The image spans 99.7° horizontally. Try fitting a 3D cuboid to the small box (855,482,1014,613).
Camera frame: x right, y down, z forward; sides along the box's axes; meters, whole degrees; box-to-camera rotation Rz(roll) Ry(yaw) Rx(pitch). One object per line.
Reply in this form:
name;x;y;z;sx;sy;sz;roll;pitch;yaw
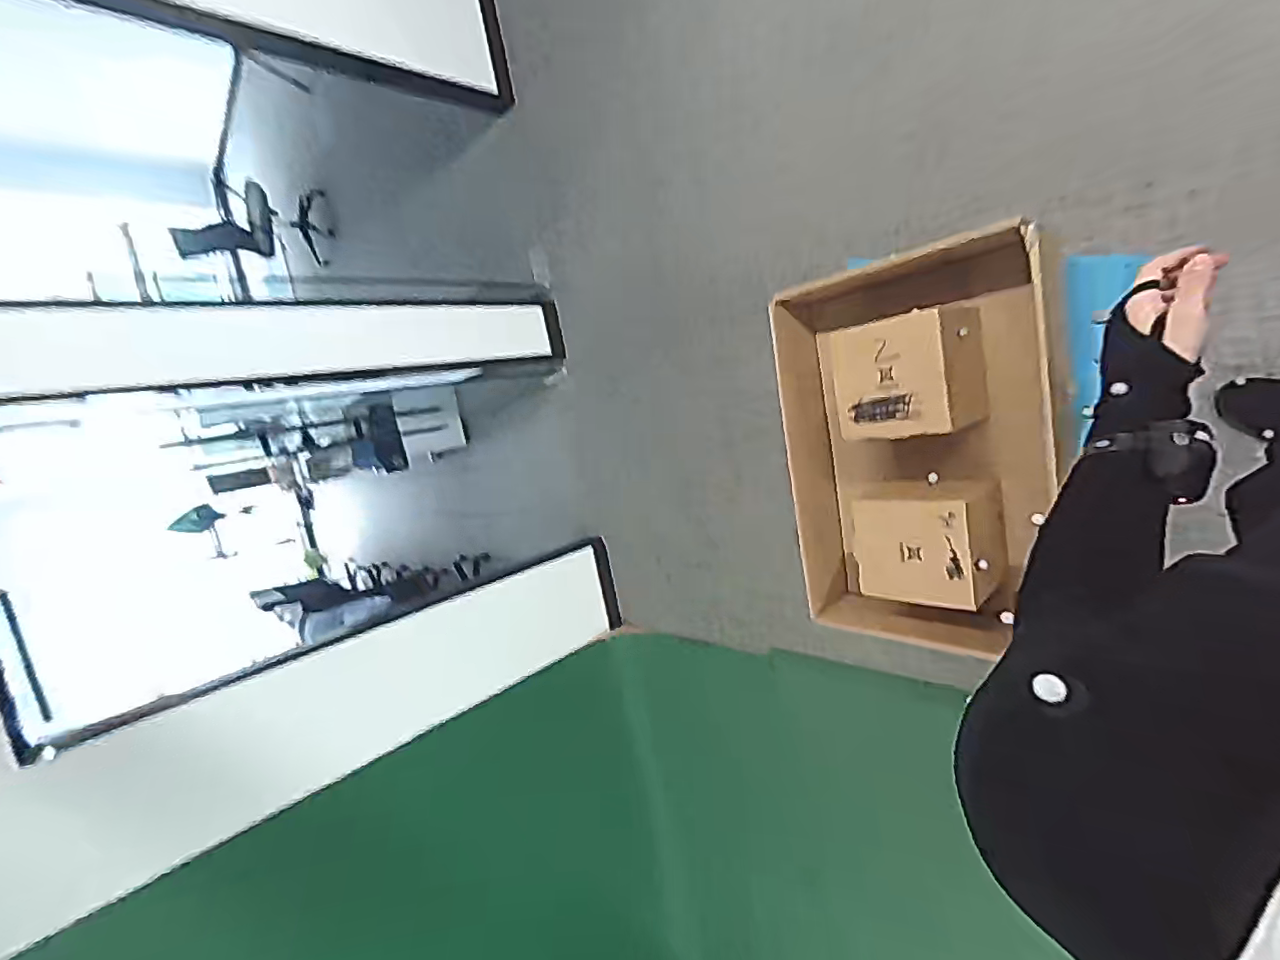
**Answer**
small box;0.484;0.100;0.891;0.179;0.176;0.168;-1;101;50
